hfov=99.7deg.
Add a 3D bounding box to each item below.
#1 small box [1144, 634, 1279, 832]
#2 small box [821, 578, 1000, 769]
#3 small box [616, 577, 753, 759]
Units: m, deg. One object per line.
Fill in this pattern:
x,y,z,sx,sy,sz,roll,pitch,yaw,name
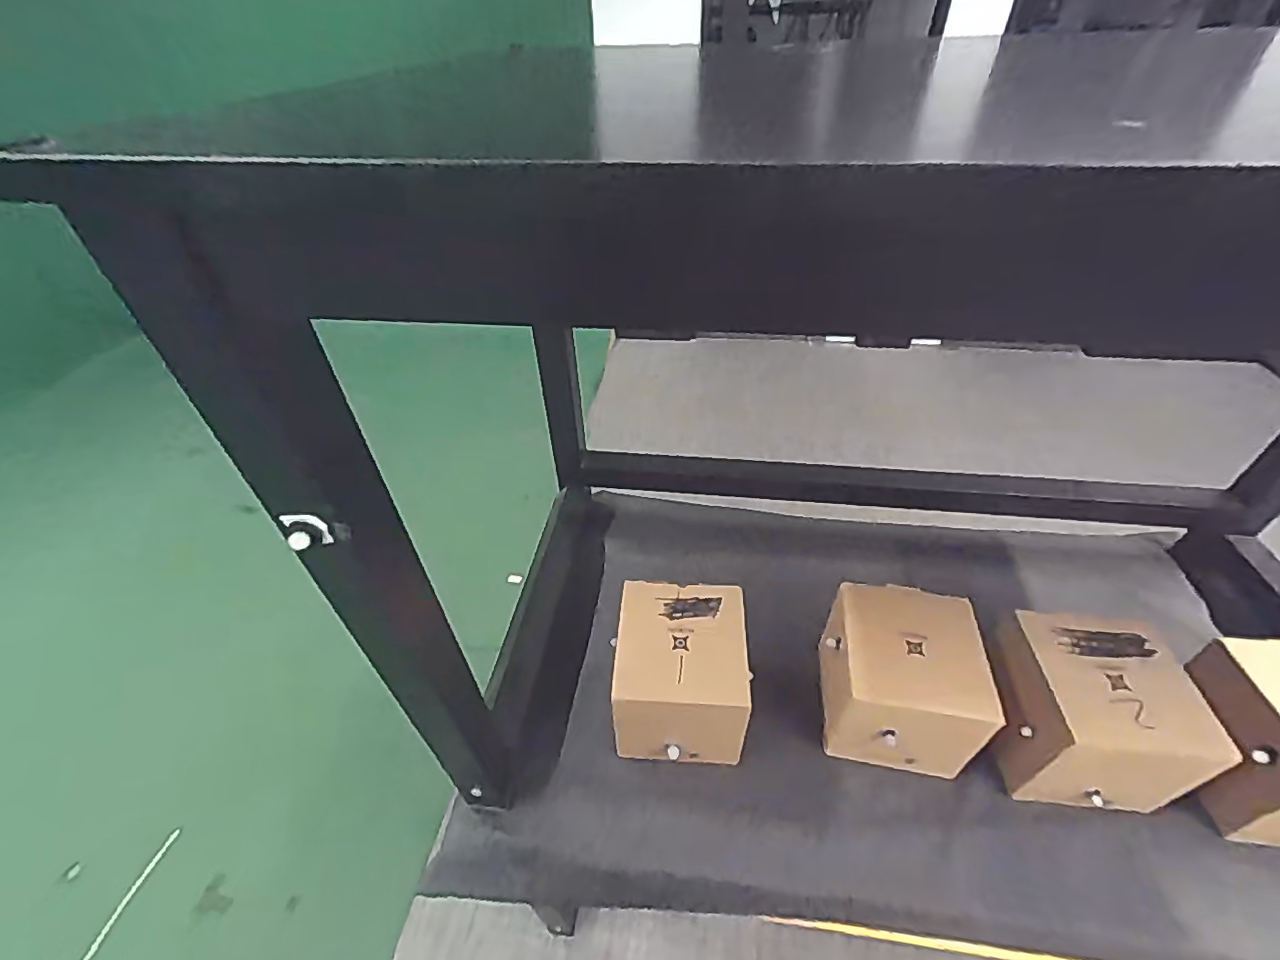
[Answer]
0.786,0.312,0.653,0.168,0.176,0.179,3,41,6,small box
0.348,0.263,0.734,0.168,0.176,0.179,7,42,10,small box
0.059,0.258,0.748,0.168,0.176,0.179,1,43,4,small box
